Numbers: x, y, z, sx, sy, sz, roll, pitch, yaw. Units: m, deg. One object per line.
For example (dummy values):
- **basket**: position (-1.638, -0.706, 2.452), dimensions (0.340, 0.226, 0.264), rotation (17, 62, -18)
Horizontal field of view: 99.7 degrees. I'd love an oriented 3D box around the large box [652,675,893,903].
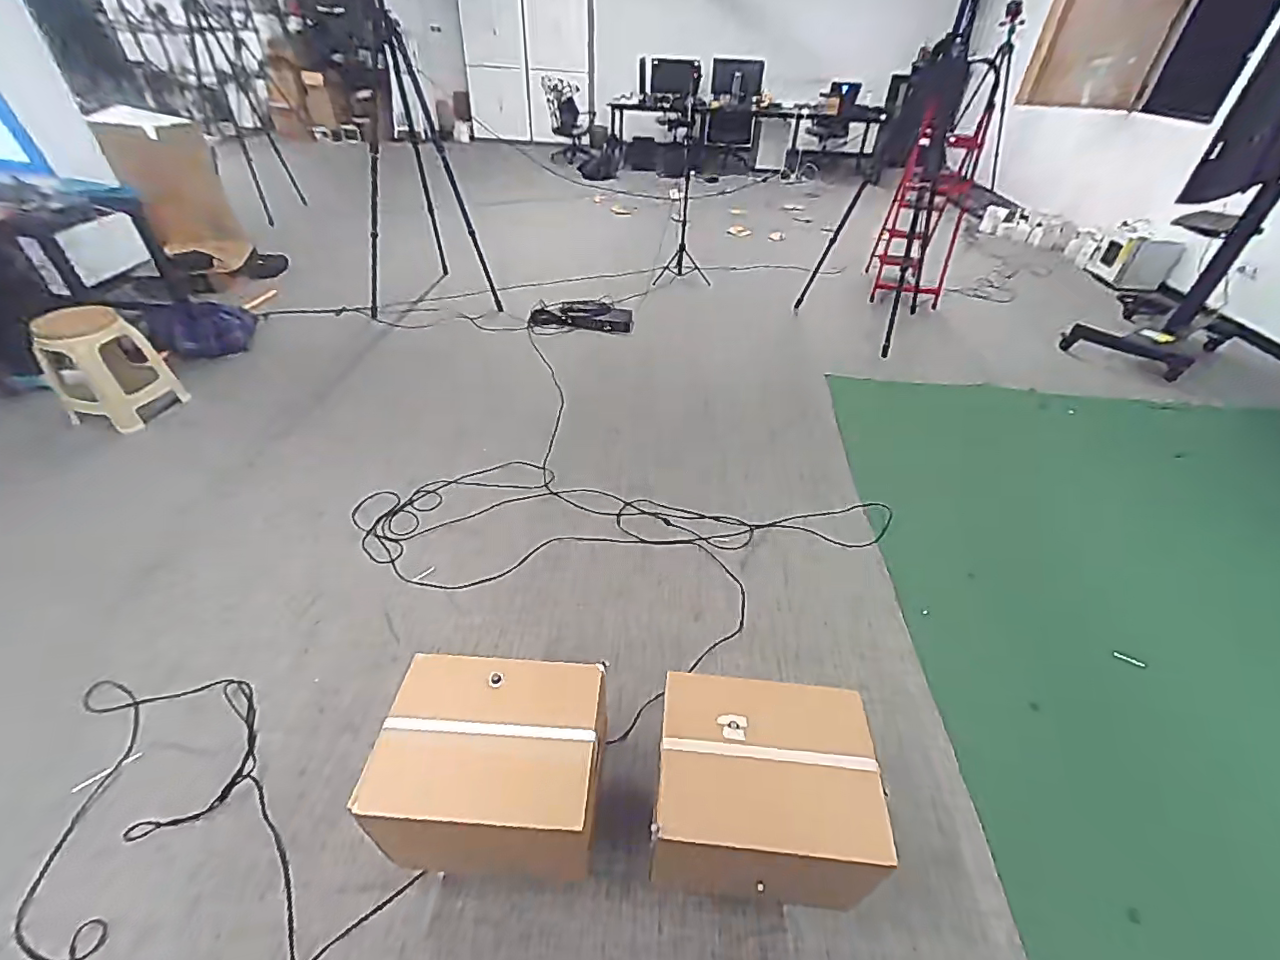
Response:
- **large box**: position (0.240, 0.641, 1.125), dimensions (0.408, 0.320, 0.320), rotation (5, 40, 4)
